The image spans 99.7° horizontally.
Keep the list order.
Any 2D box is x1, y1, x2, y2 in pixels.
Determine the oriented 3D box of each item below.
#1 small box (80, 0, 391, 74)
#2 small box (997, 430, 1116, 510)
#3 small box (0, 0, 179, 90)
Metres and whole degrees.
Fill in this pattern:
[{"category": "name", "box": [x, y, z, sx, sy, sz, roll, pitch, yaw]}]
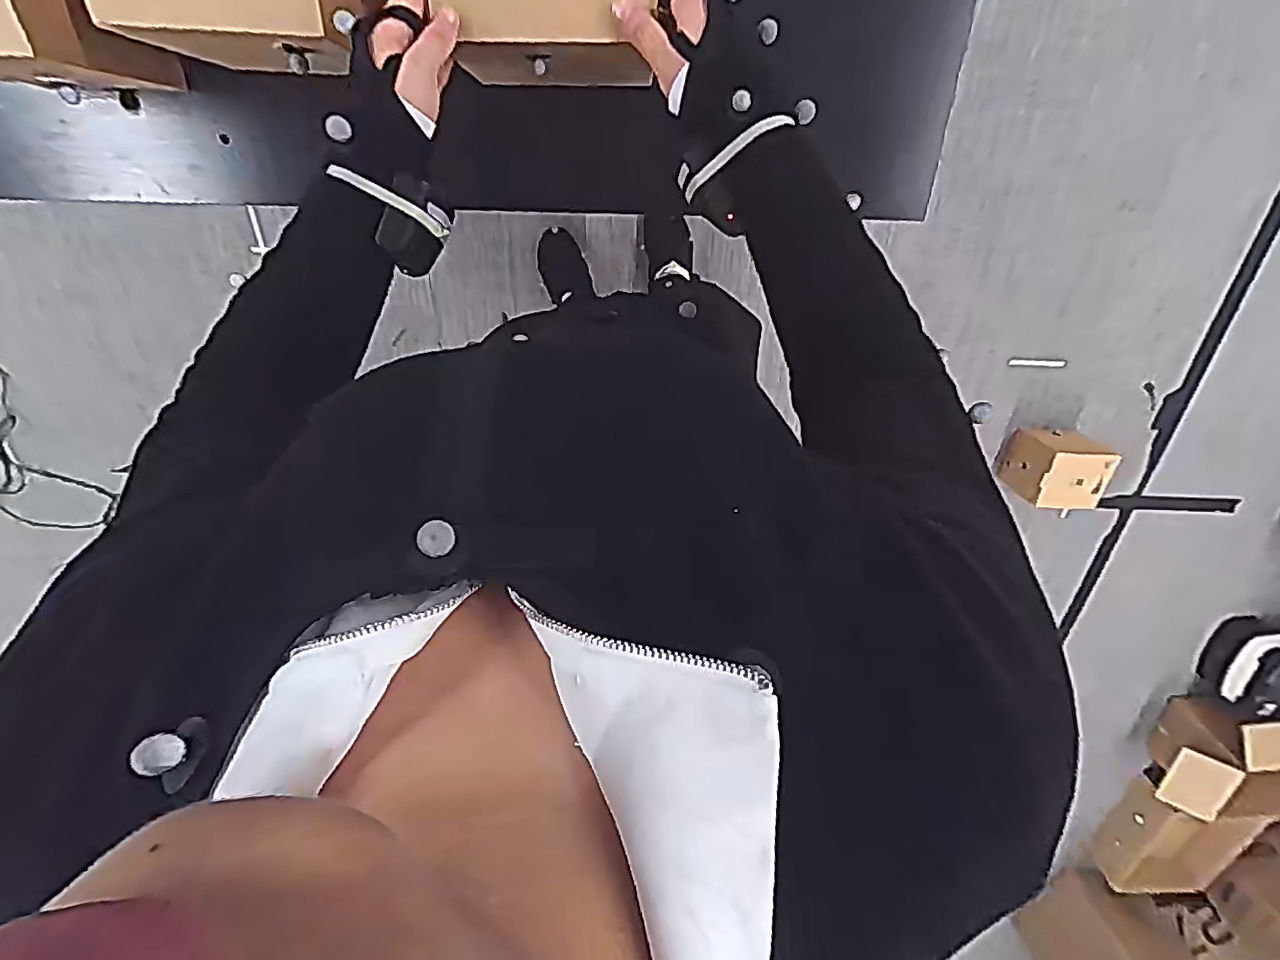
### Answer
[{"category": "small box", "box": [-0.320, -0.446, 0.435, 0.179, 0.176, 0.168, 2, 118, -2]}, {"category": "small box", "box": [1.149, -0.032, 1.510, 0.179, 0.176, 0.168, 3, 118, -2]}, {"category": "small box", "box": [-0.540, -0.438, 0.437, 0.168, 0.176, 0.179, 1, 119, 0]}]
